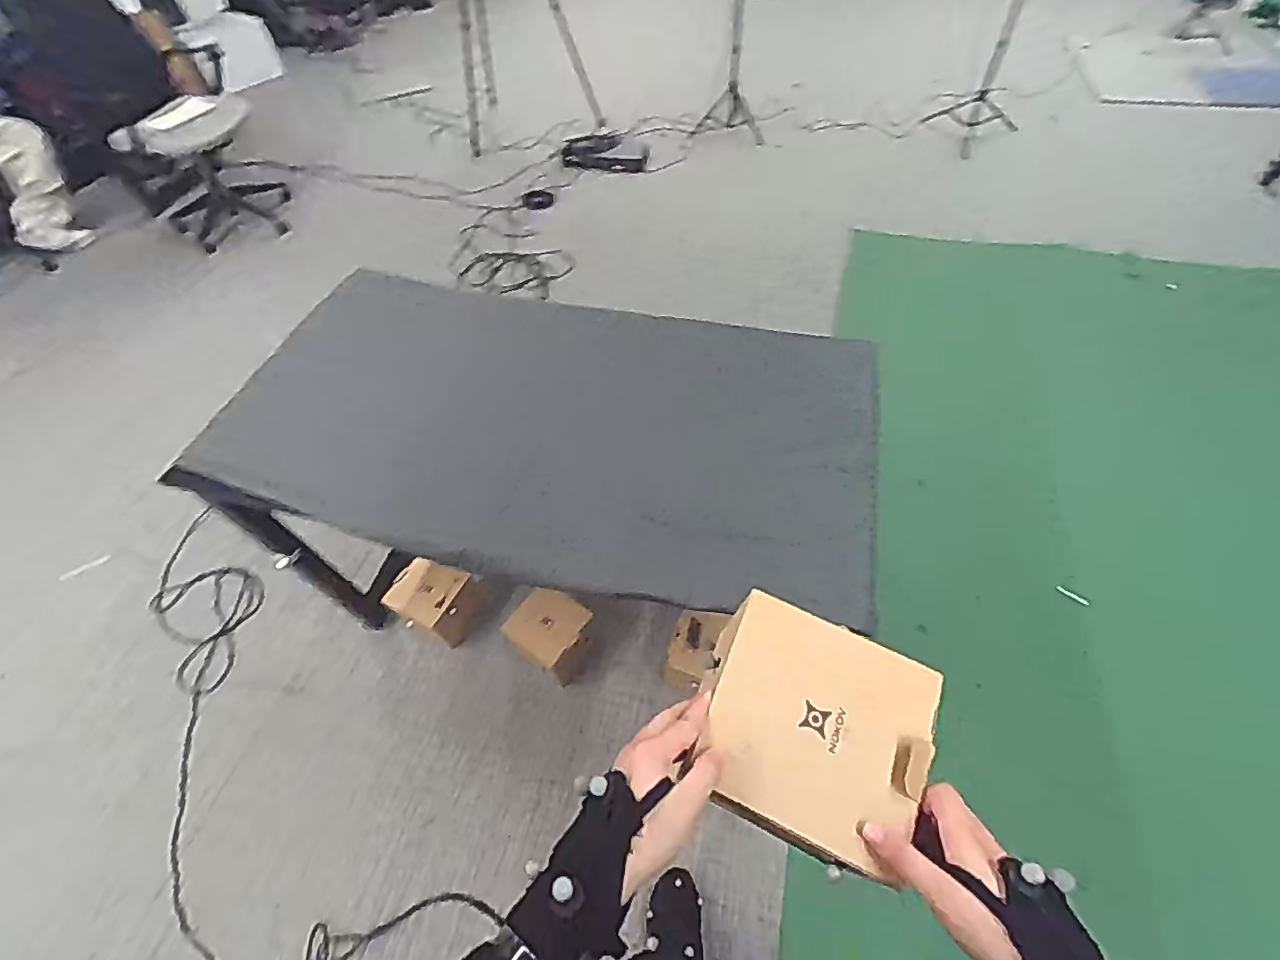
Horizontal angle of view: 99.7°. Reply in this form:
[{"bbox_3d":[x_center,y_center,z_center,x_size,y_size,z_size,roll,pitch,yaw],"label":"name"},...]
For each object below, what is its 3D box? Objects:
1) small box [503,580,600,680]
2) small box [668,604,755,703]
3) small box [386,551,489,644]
[{"bbox_3d":[-0.223,0.401,1.421,0.179,0.176,0.168,27,60,23],"label":"small box"},{"bbox_3d":[0.177,0.441,1.360,0.179,0.176,0.168,15,57,14],"label":"small box"},{"bbox_3d":[-0.554,0.330,1.498,0.179,0.176,0.168,20,59,19],"label":"small box"}]
